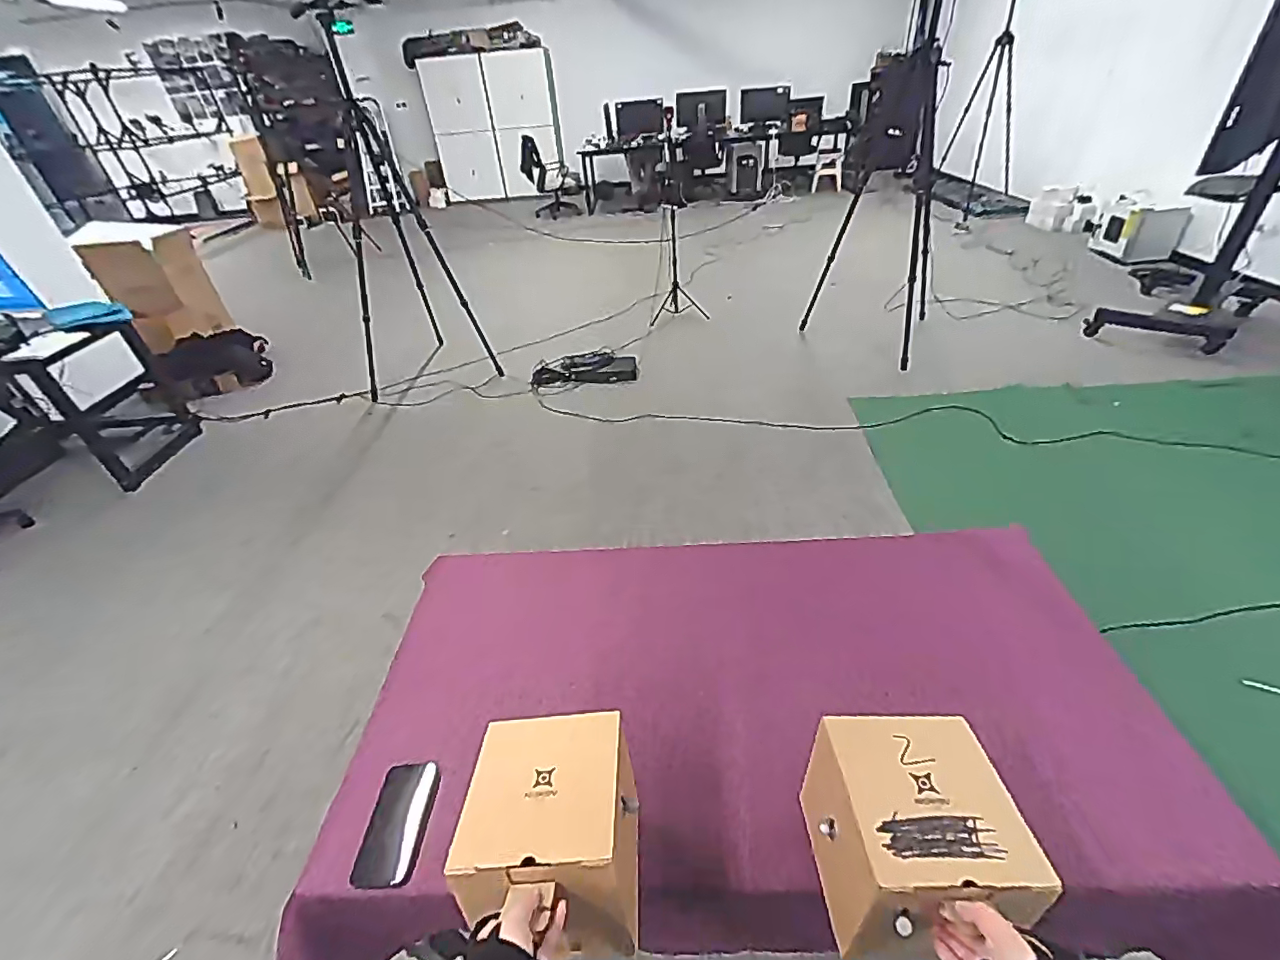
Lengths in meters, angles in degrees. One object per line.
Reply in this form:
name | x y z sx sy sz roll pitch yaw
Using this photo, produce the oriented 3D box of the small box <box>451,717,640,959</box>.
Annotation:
small box | -0.091 0.404 0.618 0.168 0.176 0.179 -6 25 3
